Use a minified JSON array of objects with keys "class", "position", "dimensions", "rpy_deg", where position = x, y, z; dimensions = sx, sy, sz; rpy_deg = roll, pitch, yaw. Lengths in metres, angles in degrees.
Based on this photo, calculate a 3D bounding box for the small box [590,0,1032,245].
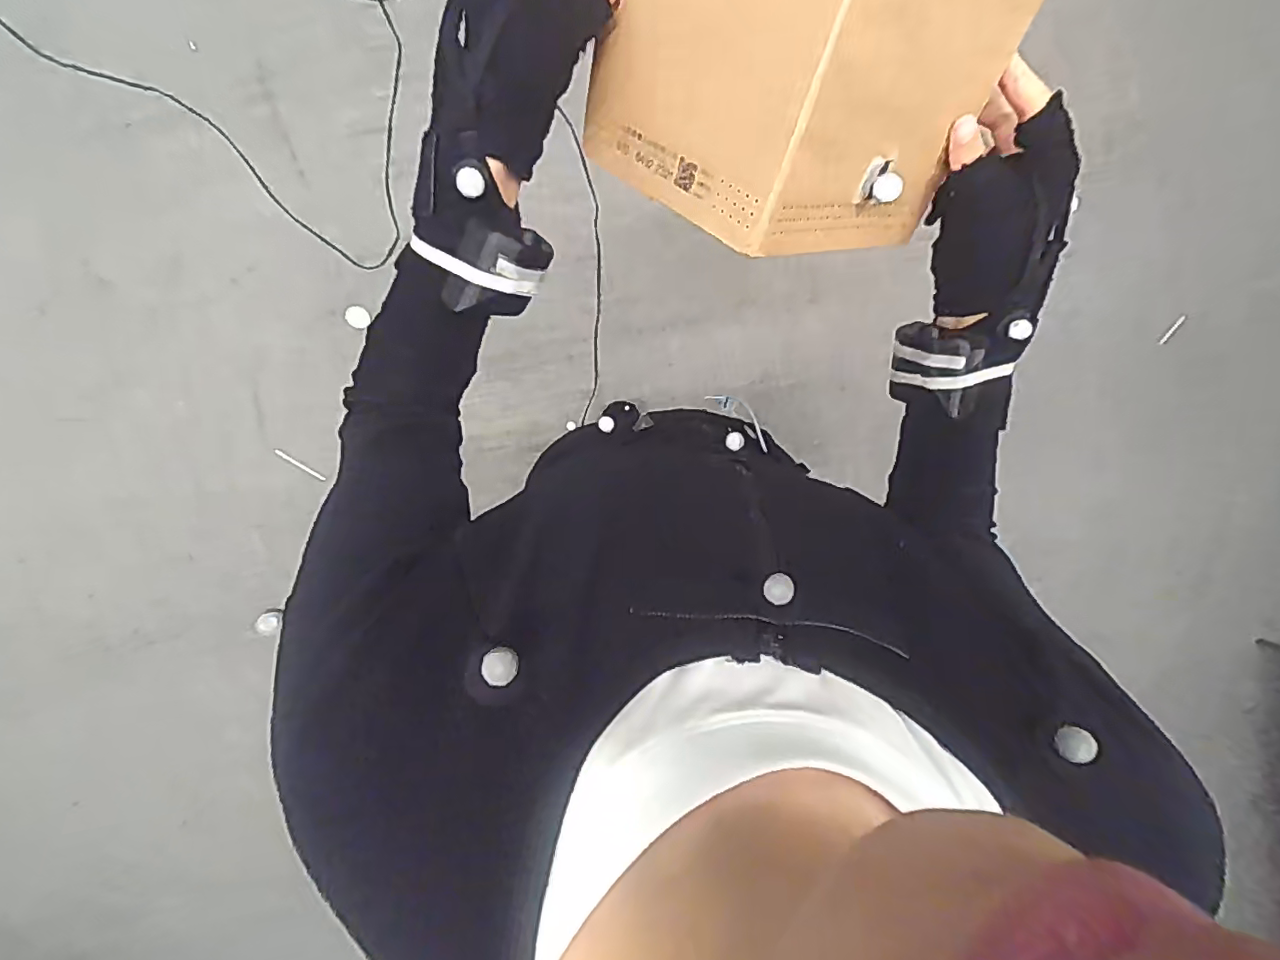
[{"class":"small box","position":[0.092,-0.258,0.322],"dimensions":[0.179,0.176,0.168],"rpy_deg":[-22,55,-35]}]
